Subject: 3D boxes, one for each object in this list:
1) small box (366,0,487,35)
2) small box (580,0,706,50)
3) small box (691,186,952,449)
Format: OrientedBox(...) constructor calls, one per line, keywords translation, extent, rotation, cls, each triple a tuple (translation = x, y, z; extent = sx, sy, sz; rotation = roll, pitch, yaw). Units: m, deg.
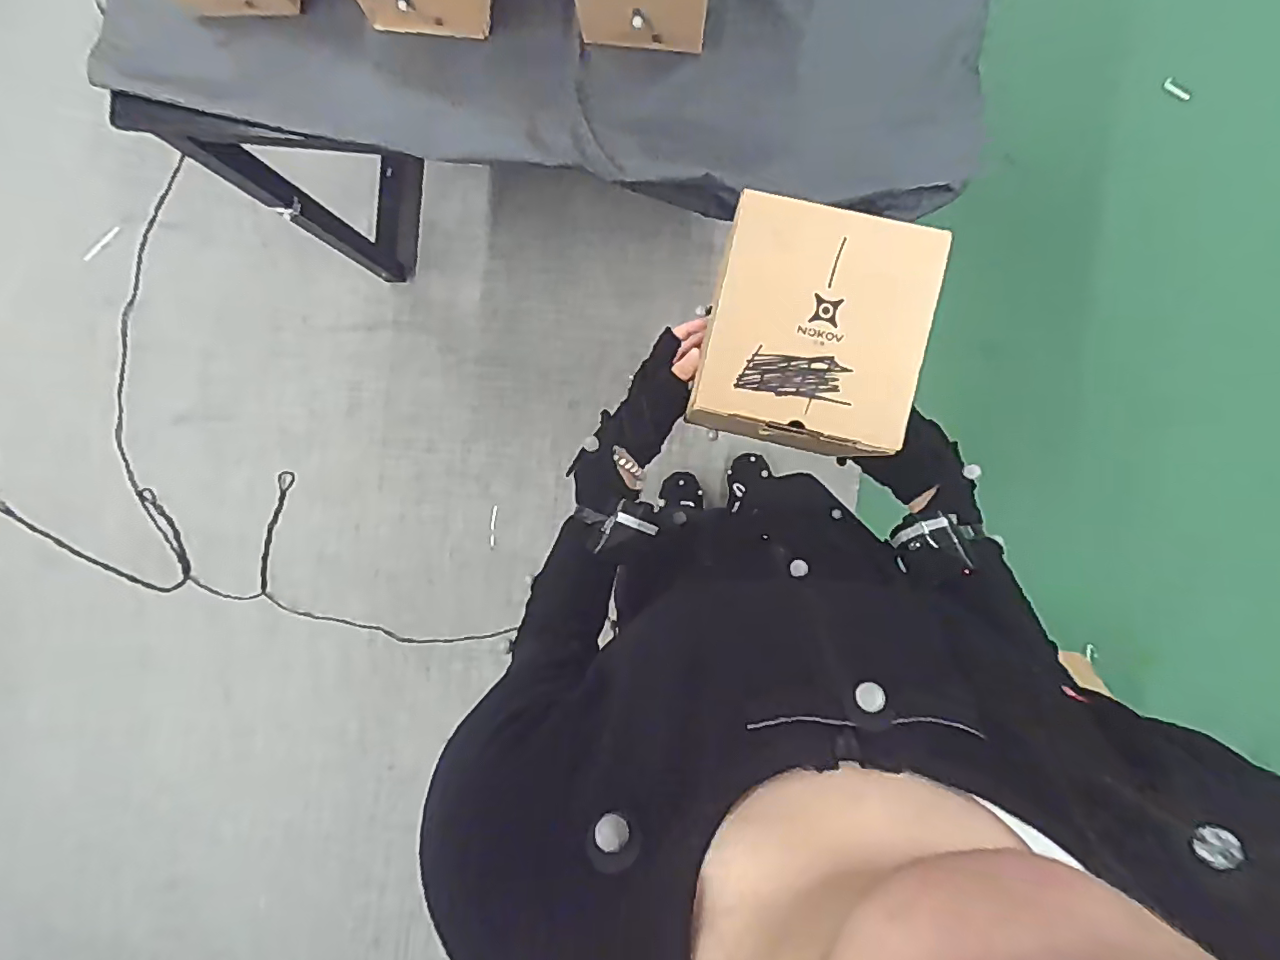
OrientedBox(translation=(-0.289, -0.714, 0.672), extent=(0.168, 0.176, 0.179), rotation=(7, 93, 2), cls="small box")
OrientedBox(translation=(0.008, -0.682, 0.658), extent=(0.168, 0.176, 0.179), rotation=(7, 92, 3), cls="small box")
OrientedBox(translation=(0.145, -0.129, 0.499), extent=(0.168, 0.176, 0.179), rotation=(13, 92, 1), cls="small box")
